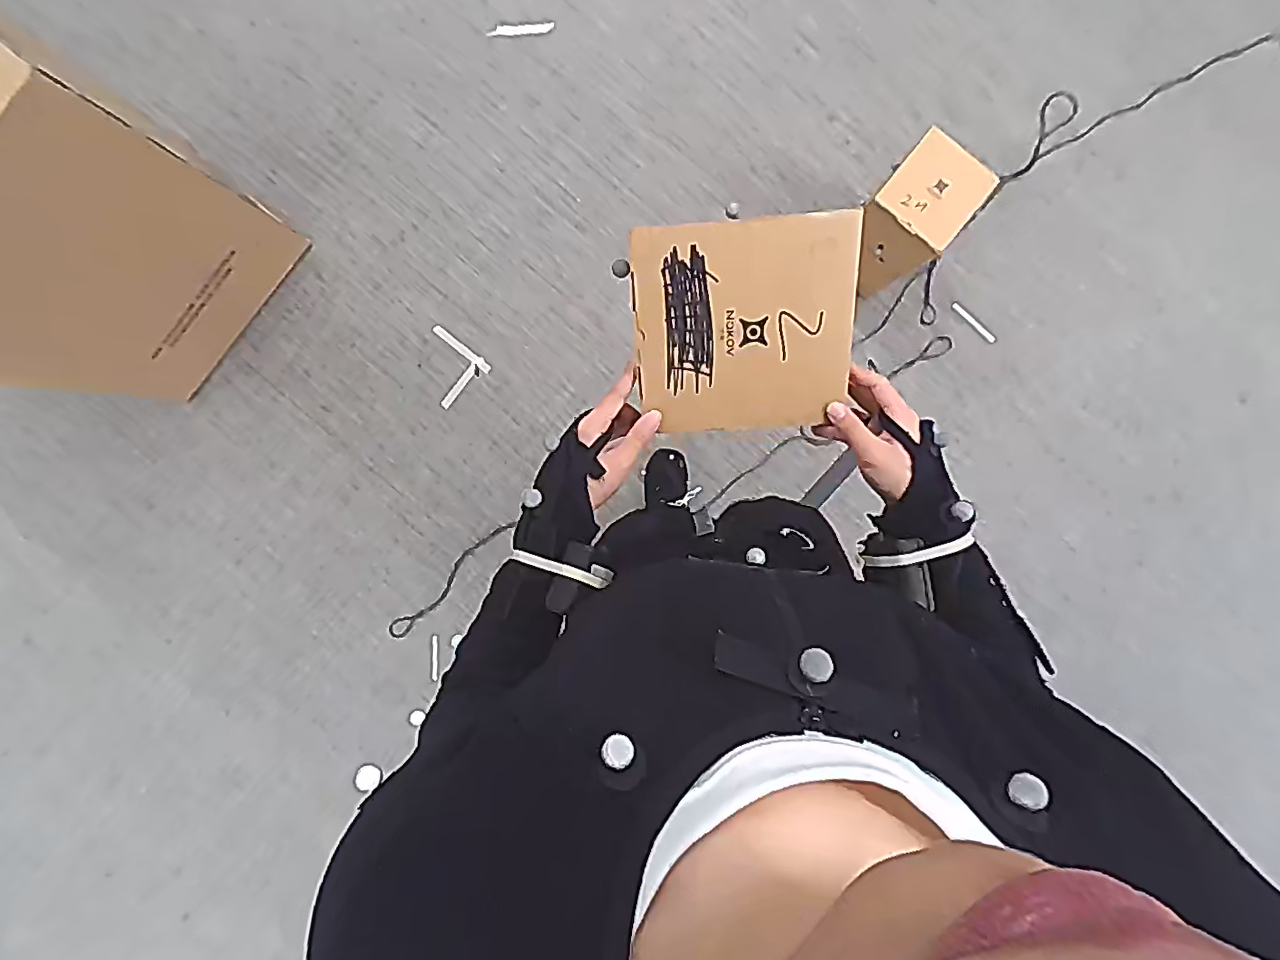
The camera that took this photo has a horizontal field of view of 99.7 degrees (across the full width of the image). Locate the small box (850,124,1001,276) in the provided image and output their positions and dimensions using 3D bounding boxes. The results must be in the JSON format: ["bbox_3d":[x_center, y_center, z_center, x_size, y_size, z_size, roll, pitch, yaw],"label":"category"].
[{"bbox_3d":[0.559,-0.549,1.086,0.168,0.176,0.179,39,93,-1],"label":"small box"}]

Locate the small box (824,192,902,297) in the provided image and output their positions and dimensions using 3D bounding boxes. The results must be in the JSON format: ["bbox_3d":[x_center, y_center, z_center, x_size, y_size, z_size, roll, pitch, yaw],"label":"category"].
[{"bbox_3d":[0.560,-0.559,1.250,0.168,0.176,0.179,41,93,-1],"label":"small box"}]
